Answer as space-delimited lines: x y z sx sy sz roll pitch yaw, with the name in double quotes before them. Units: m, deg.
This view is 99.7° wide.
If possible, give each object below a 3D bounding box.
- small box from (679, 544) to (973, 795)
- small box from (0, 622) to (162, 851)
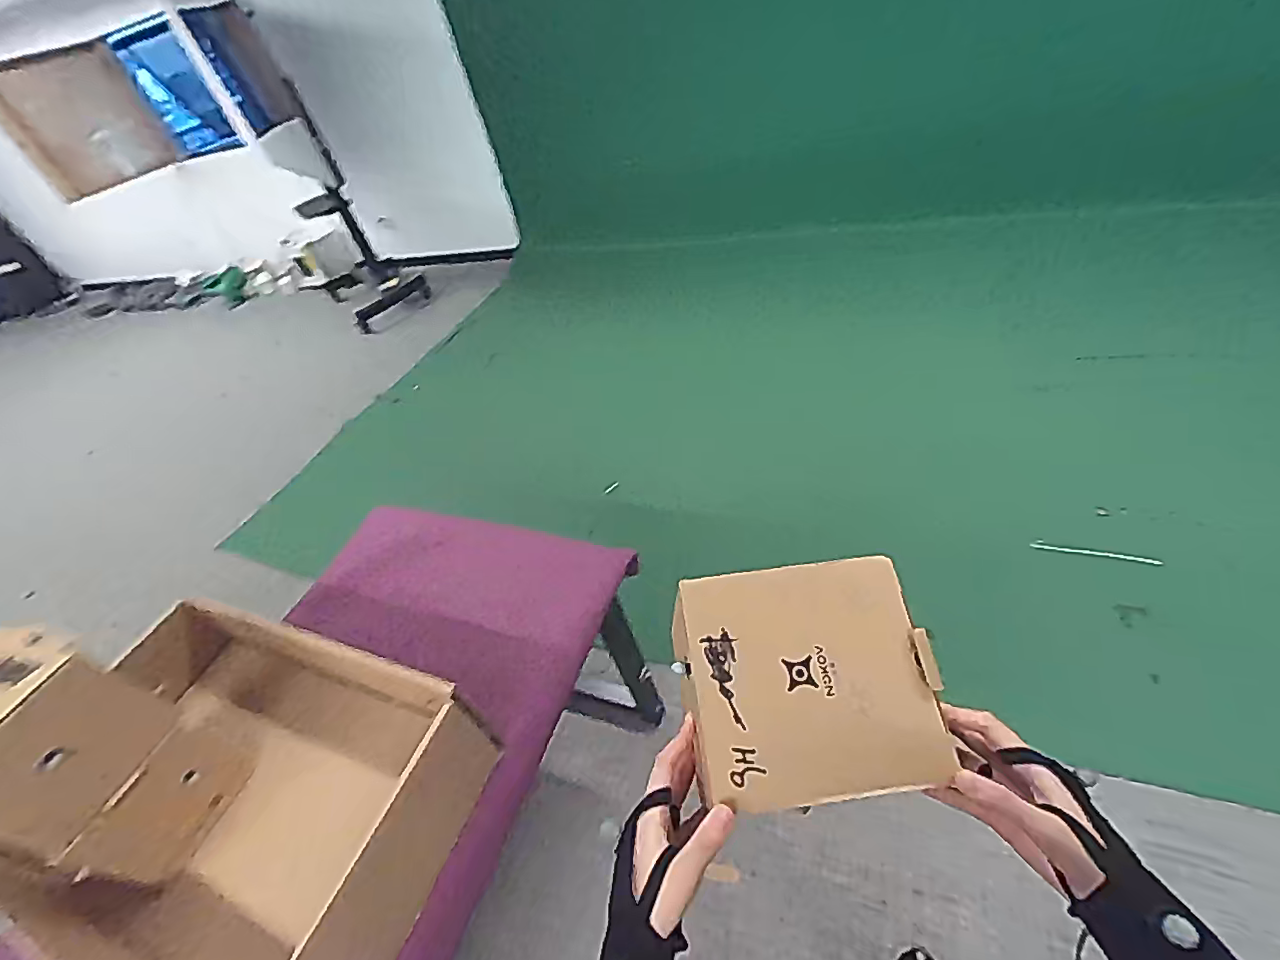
"small box" 0.134 0.166 0.469 0.179 0.176 0.168 -5 63 -3
"small box" -0.729 0.300 0.639 0.168 0.176 0.179 6 48 21
